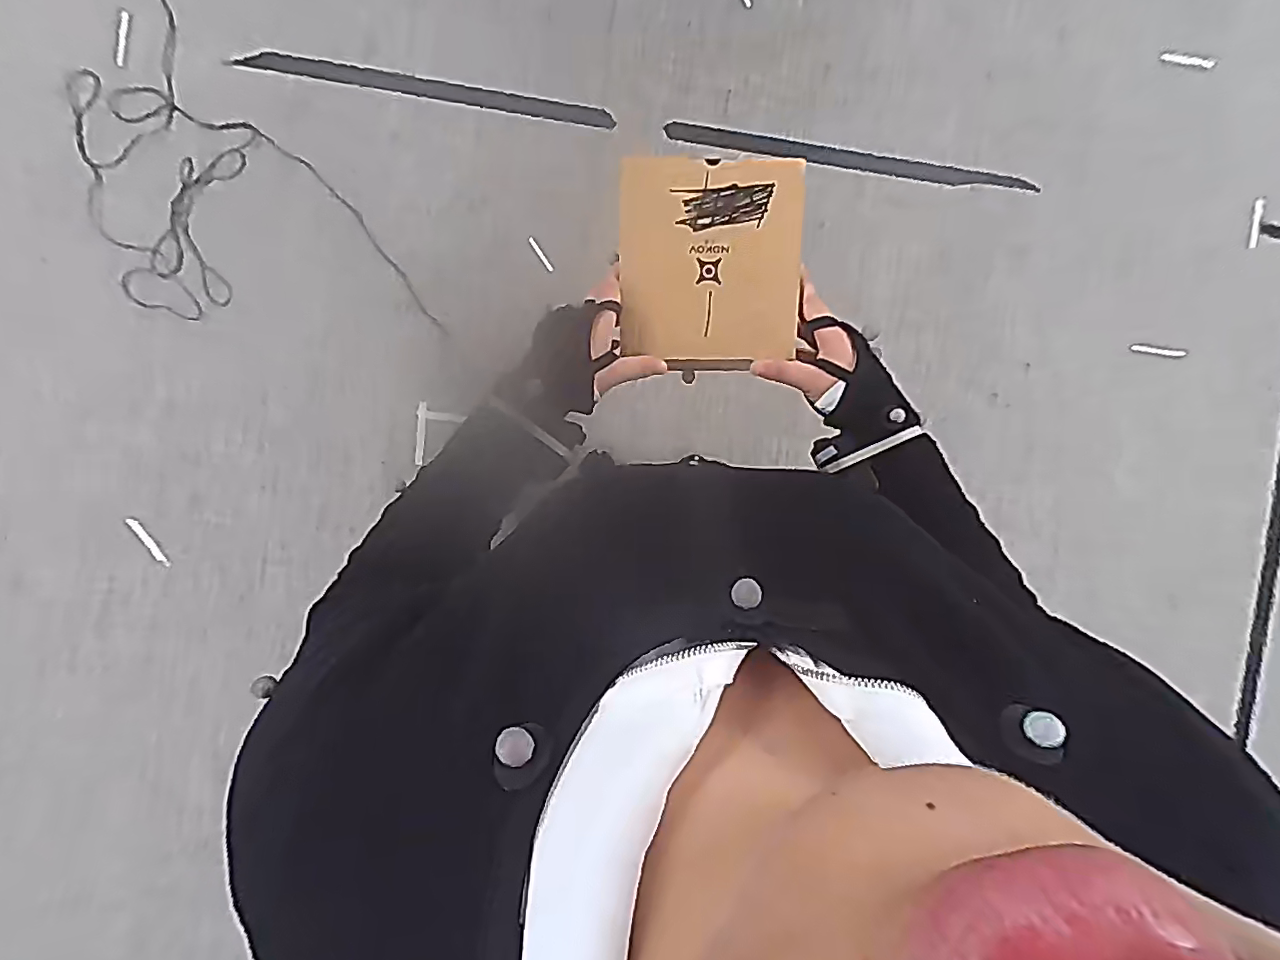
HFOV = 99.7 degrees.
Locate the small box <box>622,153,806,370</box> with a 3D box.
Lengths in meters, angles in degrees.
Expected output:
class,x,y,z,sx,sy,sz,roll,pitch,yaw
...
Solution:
class,x,y,z,sx,sy,sz,roll,pitch,yaw
small box,0.065,-0.213,0.569,0.168,0.176,0.179,0,98,-1
